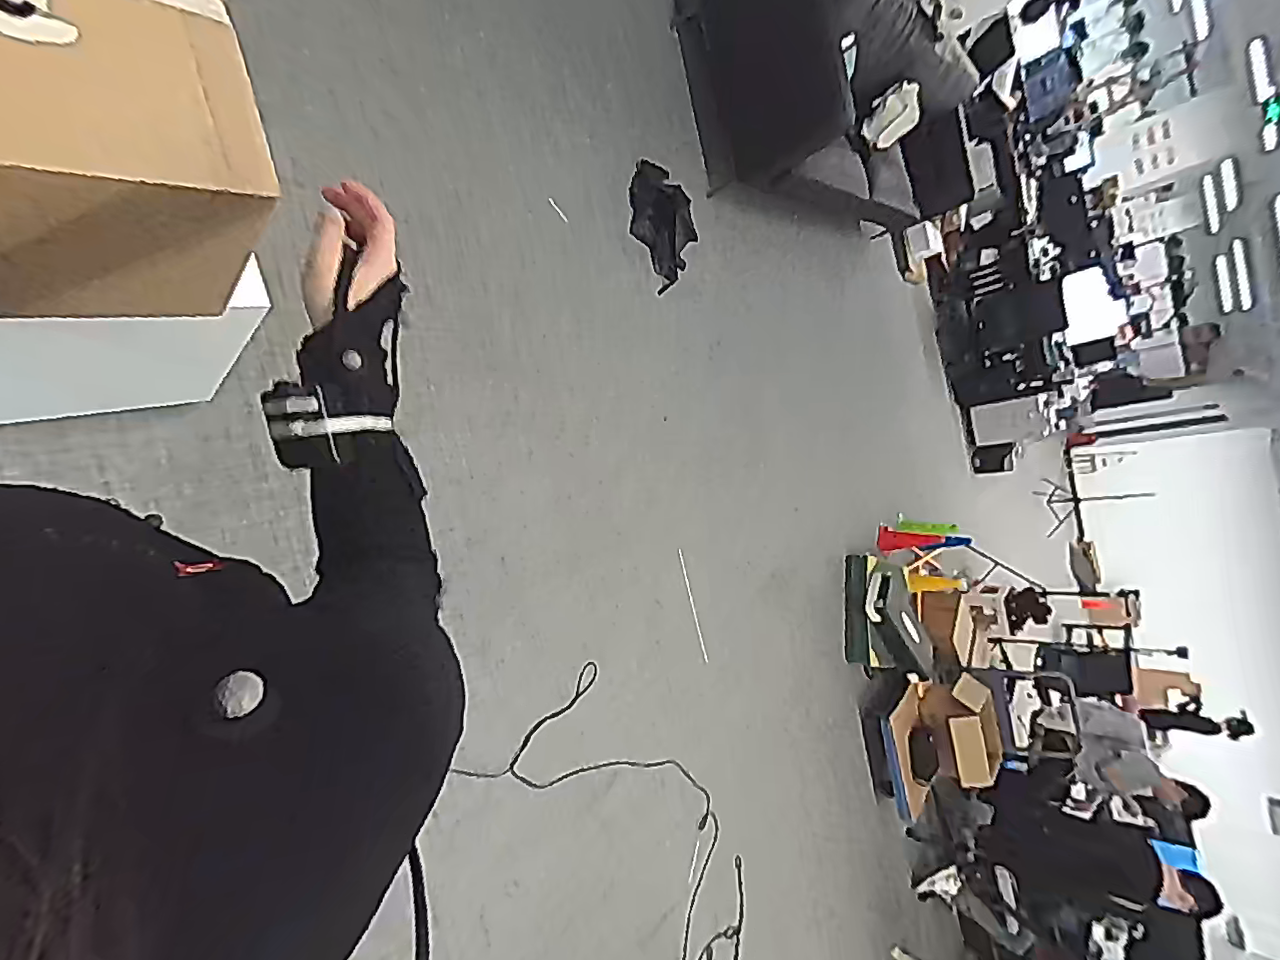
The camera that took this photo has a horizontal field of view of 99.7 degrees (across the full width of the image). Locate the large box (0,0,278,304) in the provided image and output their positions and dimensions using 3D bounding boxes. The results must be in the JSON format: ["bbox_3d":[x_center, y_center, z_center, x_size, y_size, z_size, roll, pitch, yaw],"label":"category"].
[{"bbox_3d":[-0.599,-0.342,0.432,0.408,0.320,0.320,-20,98,-47],"label":"large box"}]
